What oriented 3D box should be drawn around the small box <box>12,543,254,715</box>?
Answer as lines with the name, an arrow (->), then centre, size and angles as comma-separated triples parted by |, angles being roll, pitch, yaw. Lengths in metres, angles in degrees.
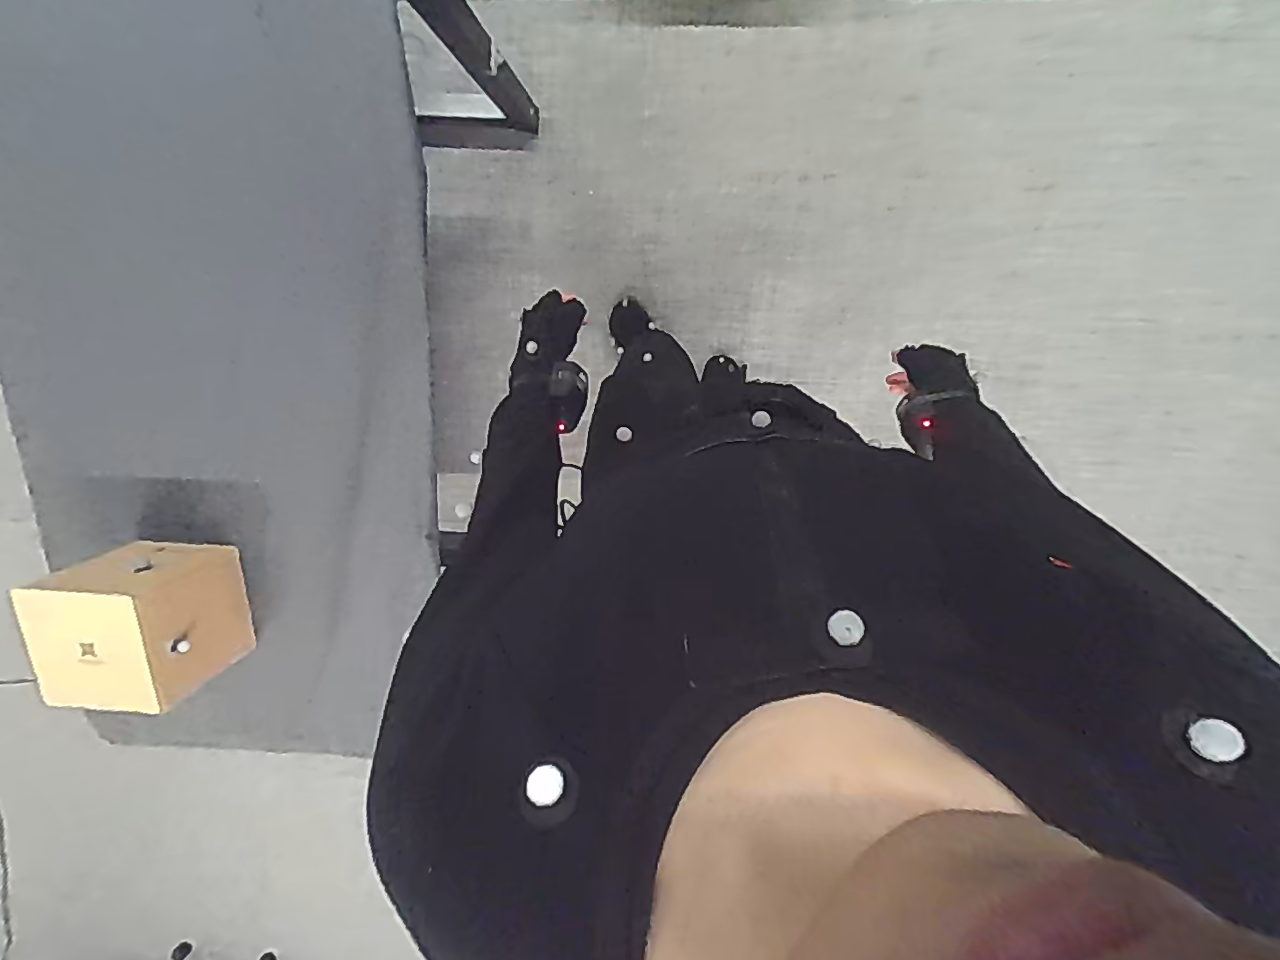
small box -> -0.694, 0.200, 0.765 | 0.168, 0.176, 0.179 | 2, 106, 4
